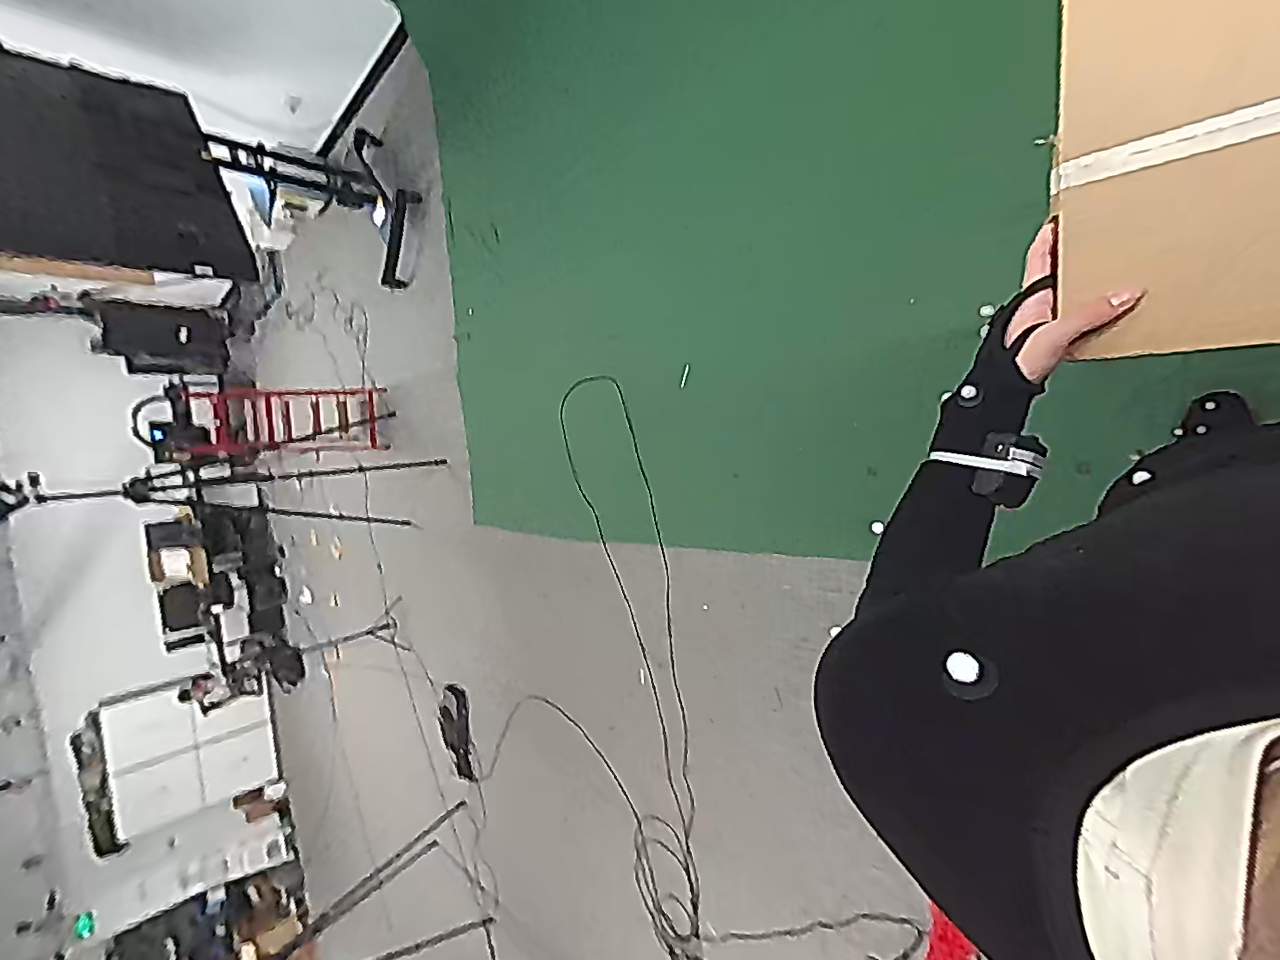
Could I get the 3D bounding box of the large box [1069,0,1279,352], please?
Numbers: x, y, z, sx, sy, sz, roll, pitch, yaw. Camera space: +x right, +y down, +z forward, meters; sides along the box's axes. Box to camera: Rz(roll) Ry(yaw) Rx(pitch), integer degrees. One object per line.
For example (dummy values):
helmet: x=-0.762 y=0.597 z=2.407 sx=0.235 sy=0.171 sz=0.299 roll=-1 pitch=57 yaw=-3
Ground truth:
large box: x=0.612 y=-0.287 z=0.429 sx=0.408 sy=0.320 sz=0.320 roll=3 pitch=103 yaw=44
